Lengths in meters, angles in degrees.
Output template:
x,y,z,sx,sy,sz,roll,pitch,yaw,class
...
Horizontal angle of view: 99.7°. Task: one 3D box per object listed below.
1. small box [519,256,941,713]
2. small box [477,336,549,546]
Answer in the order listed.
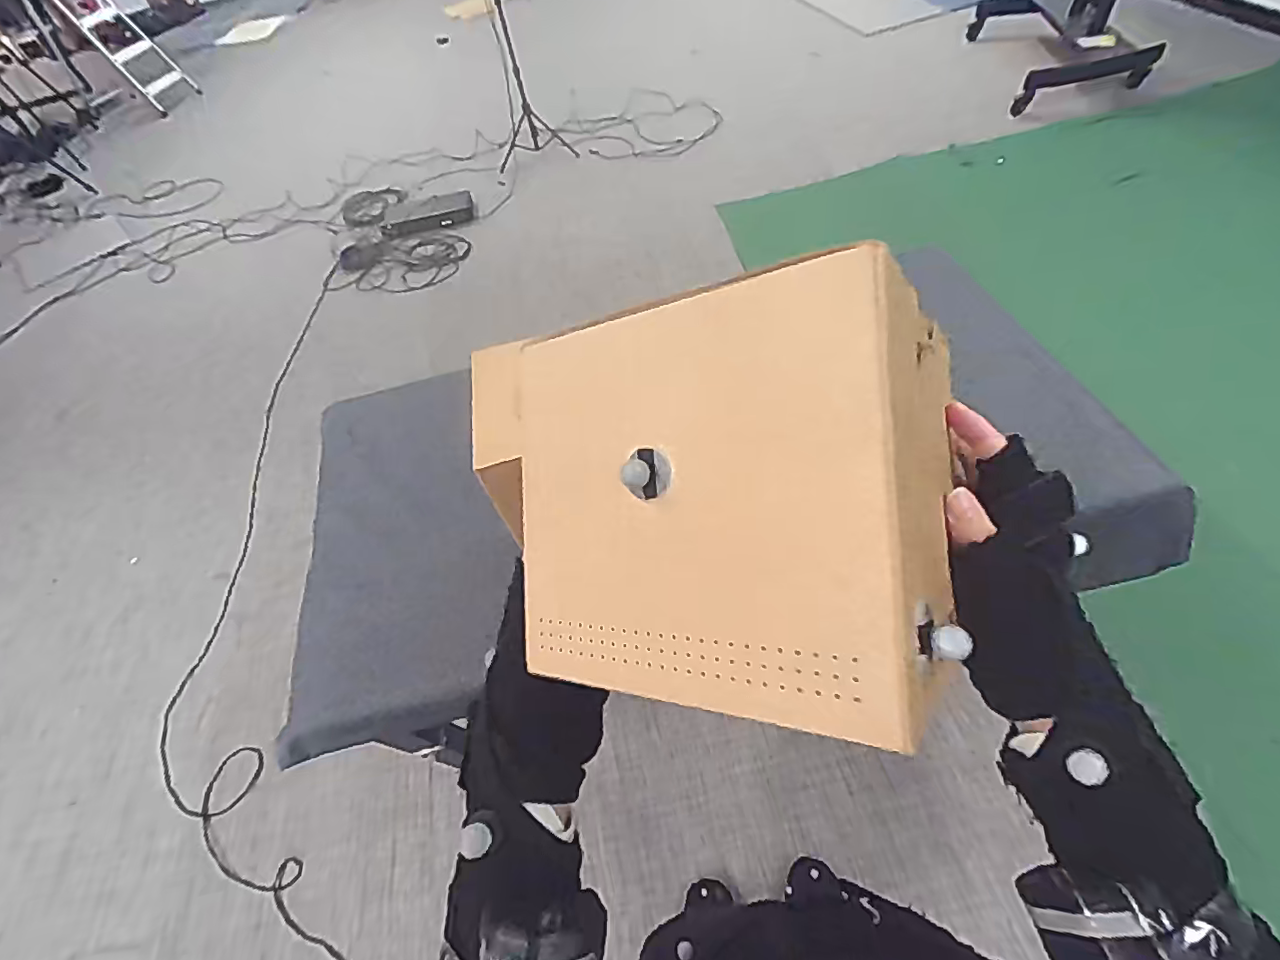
x,y,z,sx,sy,sz,roll,pitch,yaw,class
0.055,0.010,0.295,0.179,0.168,0.176,-4,86,35,small box
-0.062,-0.041,0.585,0.179,0.176,0.168,-14,51,0,small box
